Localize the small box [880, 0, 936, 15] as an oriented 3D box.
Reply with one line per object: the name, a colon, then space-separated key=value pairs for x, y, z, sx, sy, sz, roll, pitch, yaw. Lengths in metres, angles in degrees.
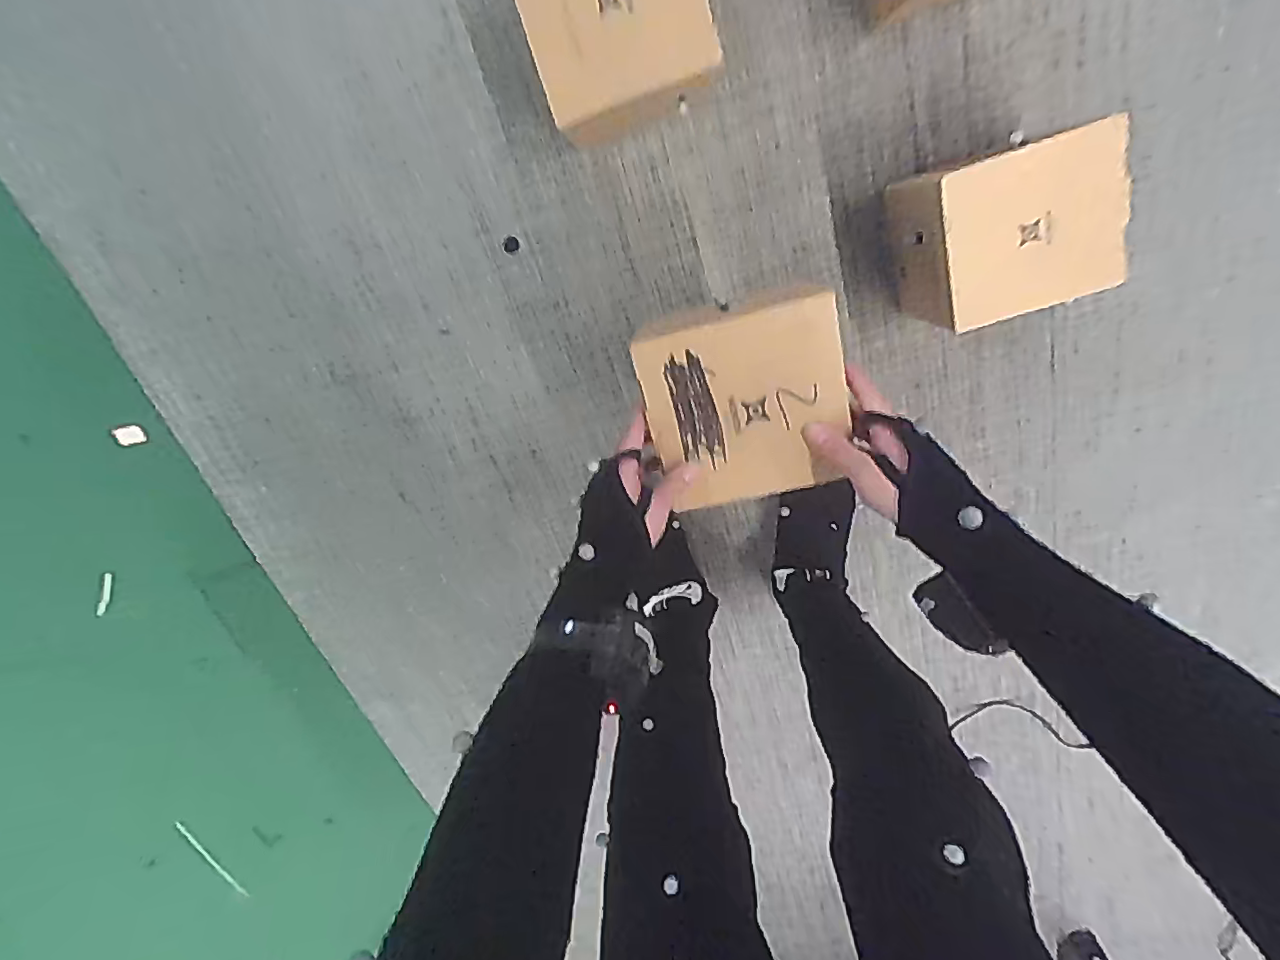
small box: x=0.325 y=-0.579 z=0.497 sx=0.179 sy=0.176 sz=0.168 roll=-15 pitch=113 yaw=10

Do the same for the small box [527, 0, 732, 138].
small box: x=-0.014 y=-0.486 z=0.563 sx=0.179 sy=0.176 sz=0.168 roll=-14 pitch=112 yaw=10

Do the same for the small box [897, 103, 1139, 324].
small box: x=0.416 y=-0.294 z=0.625 sx=0.179 sy=0.176 sz=0.168 roll=-16 pitch=112 yaw=10
